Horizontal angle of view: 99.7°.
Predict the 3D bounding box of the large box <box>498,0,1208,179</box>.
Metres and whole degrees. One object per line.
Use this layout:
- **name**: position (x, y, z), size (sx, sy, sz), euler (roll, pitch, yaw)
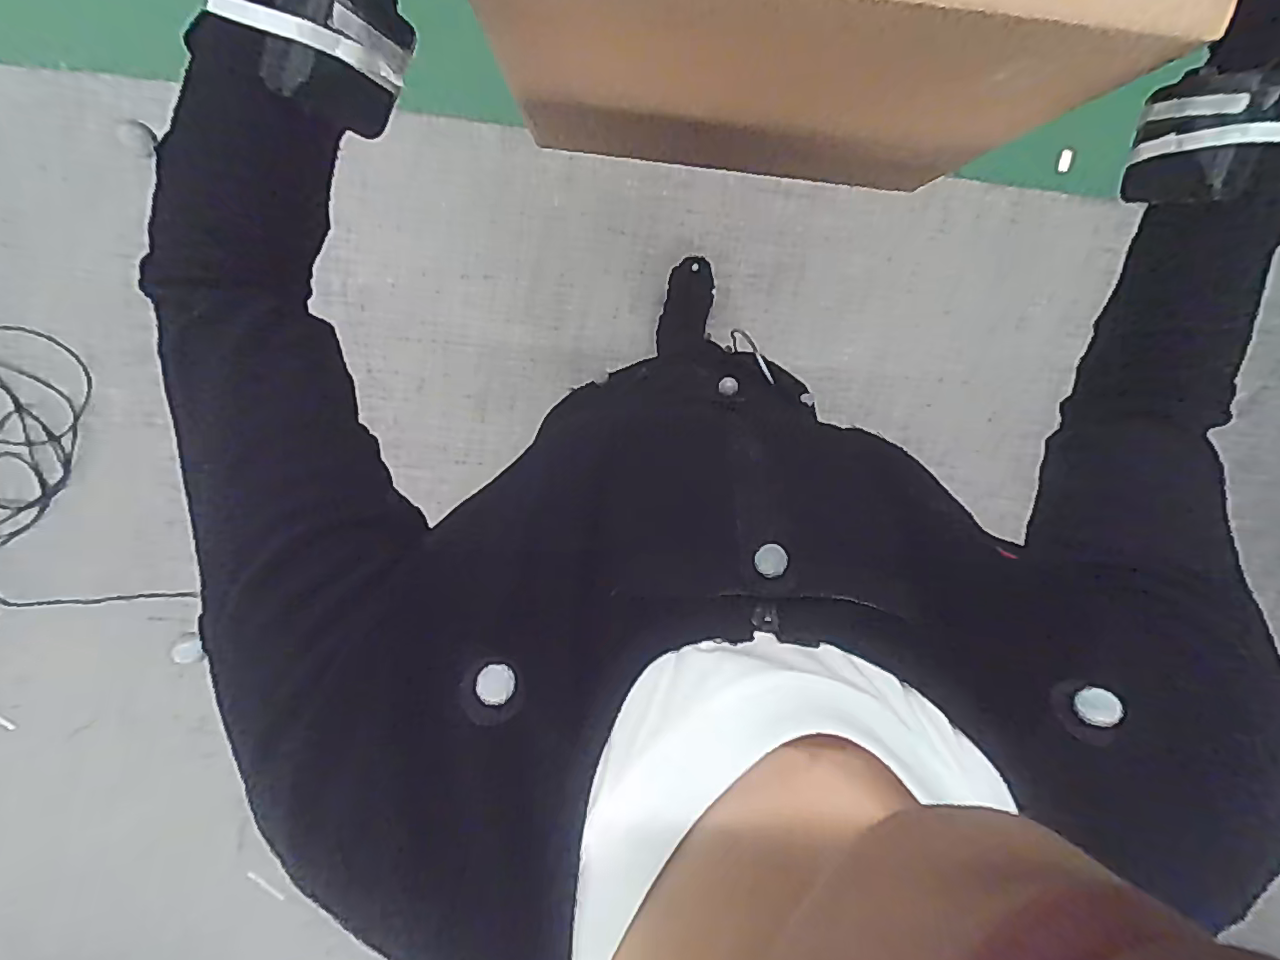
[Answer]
- **large box**: position (0.114, -0.443, 0.390), size (0.408, 0.320, 0.320), euler (4, 105, -4)
